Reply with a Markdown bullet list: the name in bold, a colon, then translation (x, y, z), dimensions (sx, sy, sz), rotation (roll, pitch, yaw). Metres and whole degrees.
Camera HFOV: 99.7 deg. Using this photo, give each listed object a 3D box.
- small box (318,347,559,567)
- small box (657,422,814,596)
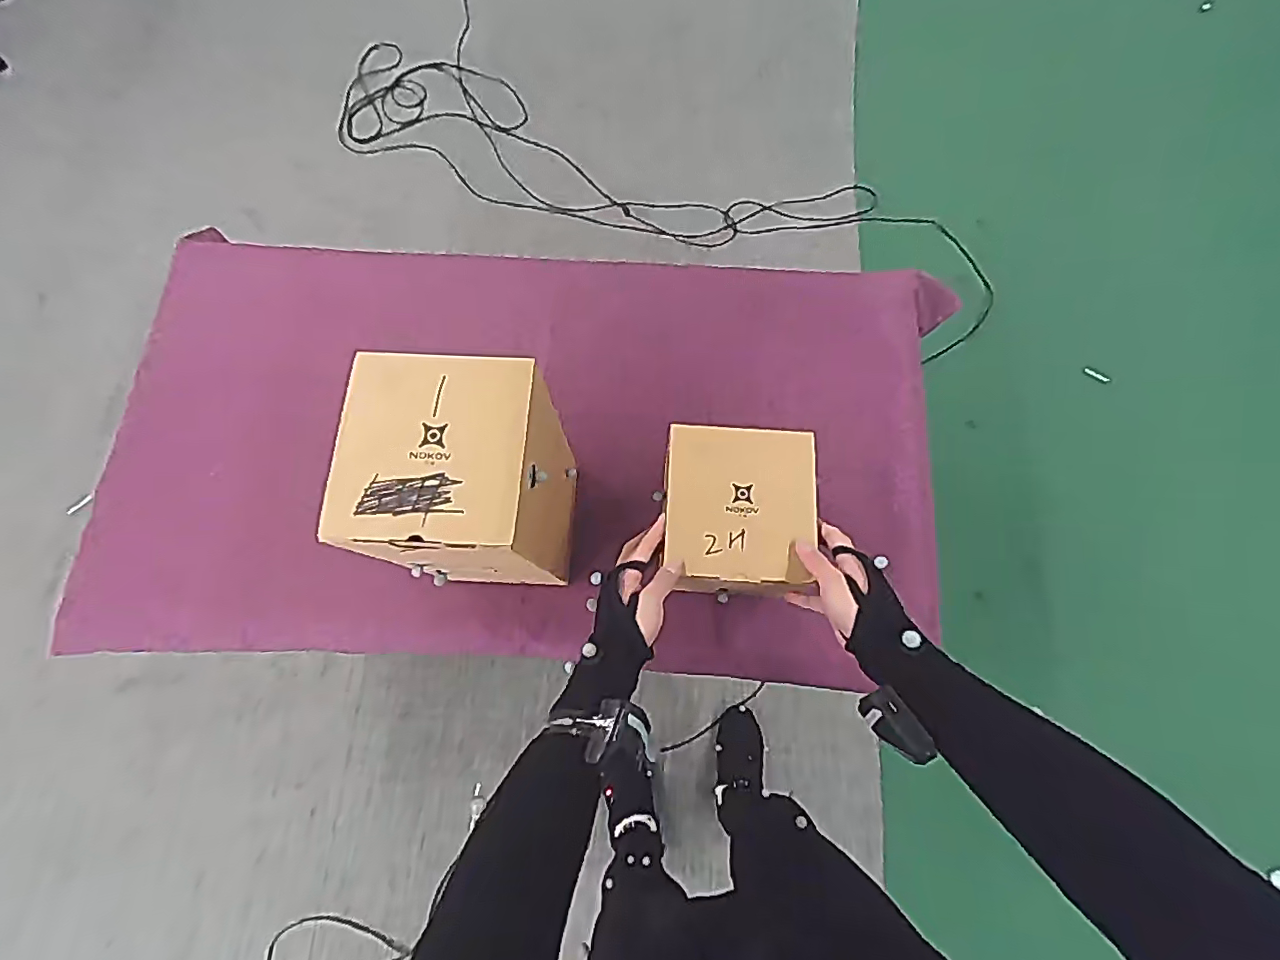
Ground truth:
- **small box**: translation (-0.180, -0.011, 0.542), dimensions (0.168, 0.176, 0.179), rotation (3, 73, 1)
- **small box**: translation (0.110, 0.044, 0.673), dimensions (0.168, 0.176, 0.179), rotation (4, 75, 2)
